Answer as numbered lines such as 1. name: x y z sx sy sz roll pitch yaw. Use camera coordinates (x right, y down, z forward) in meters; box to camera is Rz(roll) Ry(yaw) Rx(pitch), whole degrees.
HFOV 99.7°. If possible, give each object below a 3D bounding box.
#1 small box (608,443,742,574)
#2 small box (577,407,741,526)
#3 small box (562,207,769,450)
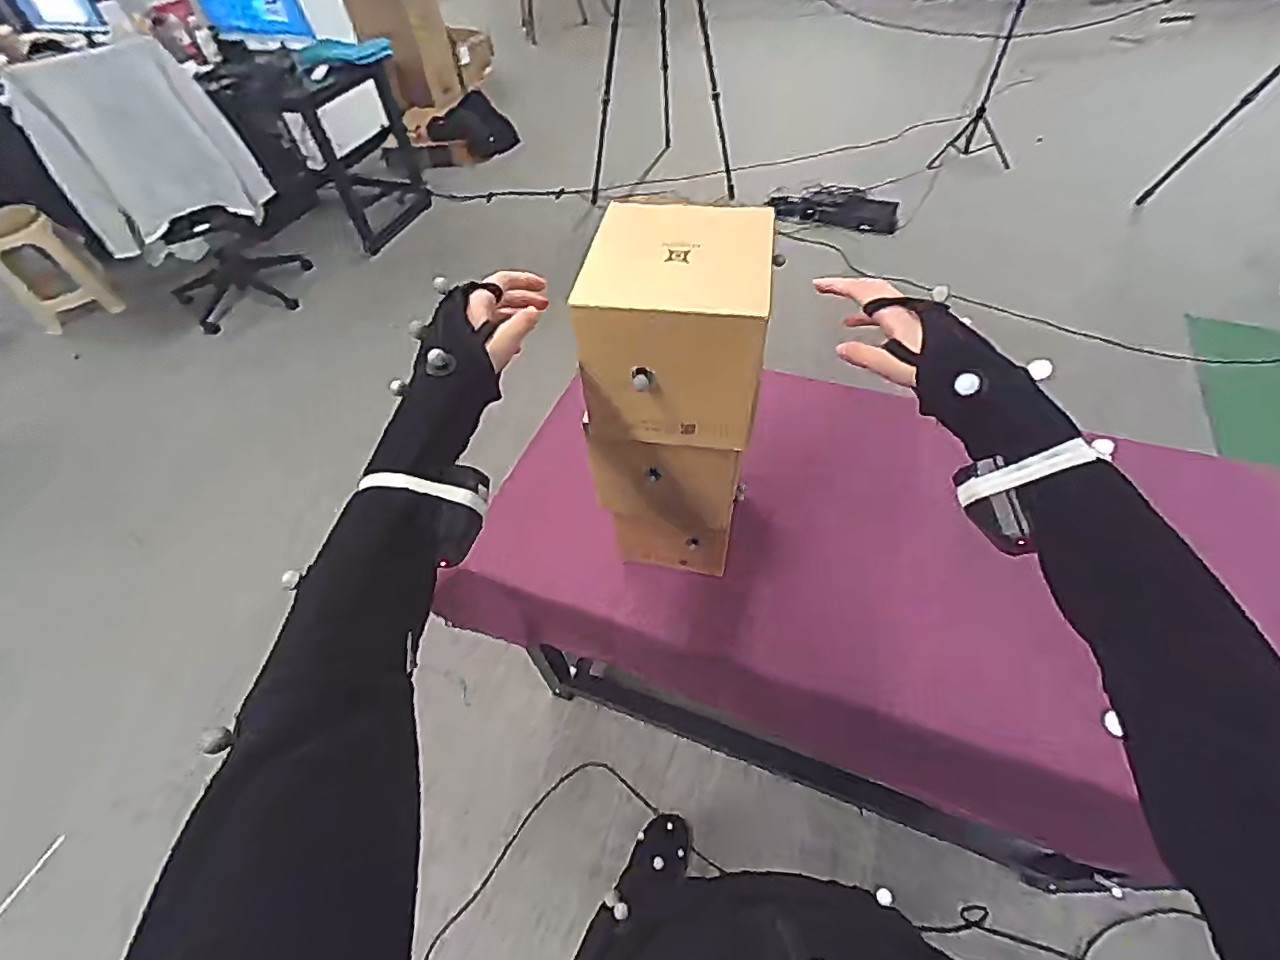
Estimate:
1. small box: 0.059 0.022 0.824 0.168 0.176 0.179 10 53 11
2. small box: 0.039 -0.060 0.681 0.179 0.176 0.168 9 53 11
3. small box: 0.034 -0.149 0.545 0.168 0.176 0.179 6 53 9
